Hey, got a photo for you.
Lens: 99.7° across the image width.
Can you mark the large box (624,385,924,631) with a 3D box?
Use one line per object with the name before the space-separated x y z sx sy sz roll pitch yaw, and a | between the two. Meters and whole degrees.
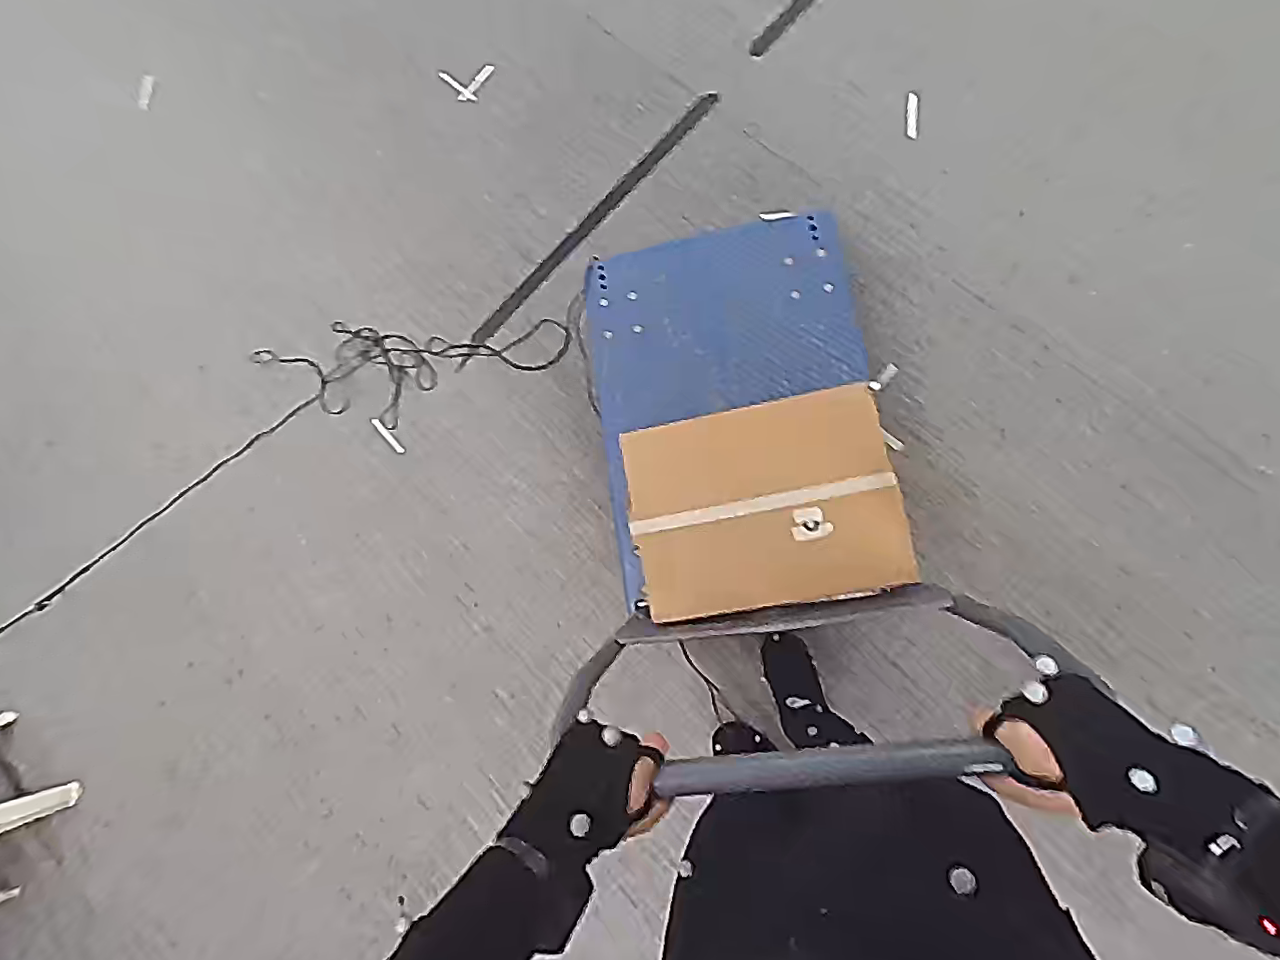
large box | 0.215 0.063 0.970 0.408 0.320 0.320 -11 82 8
